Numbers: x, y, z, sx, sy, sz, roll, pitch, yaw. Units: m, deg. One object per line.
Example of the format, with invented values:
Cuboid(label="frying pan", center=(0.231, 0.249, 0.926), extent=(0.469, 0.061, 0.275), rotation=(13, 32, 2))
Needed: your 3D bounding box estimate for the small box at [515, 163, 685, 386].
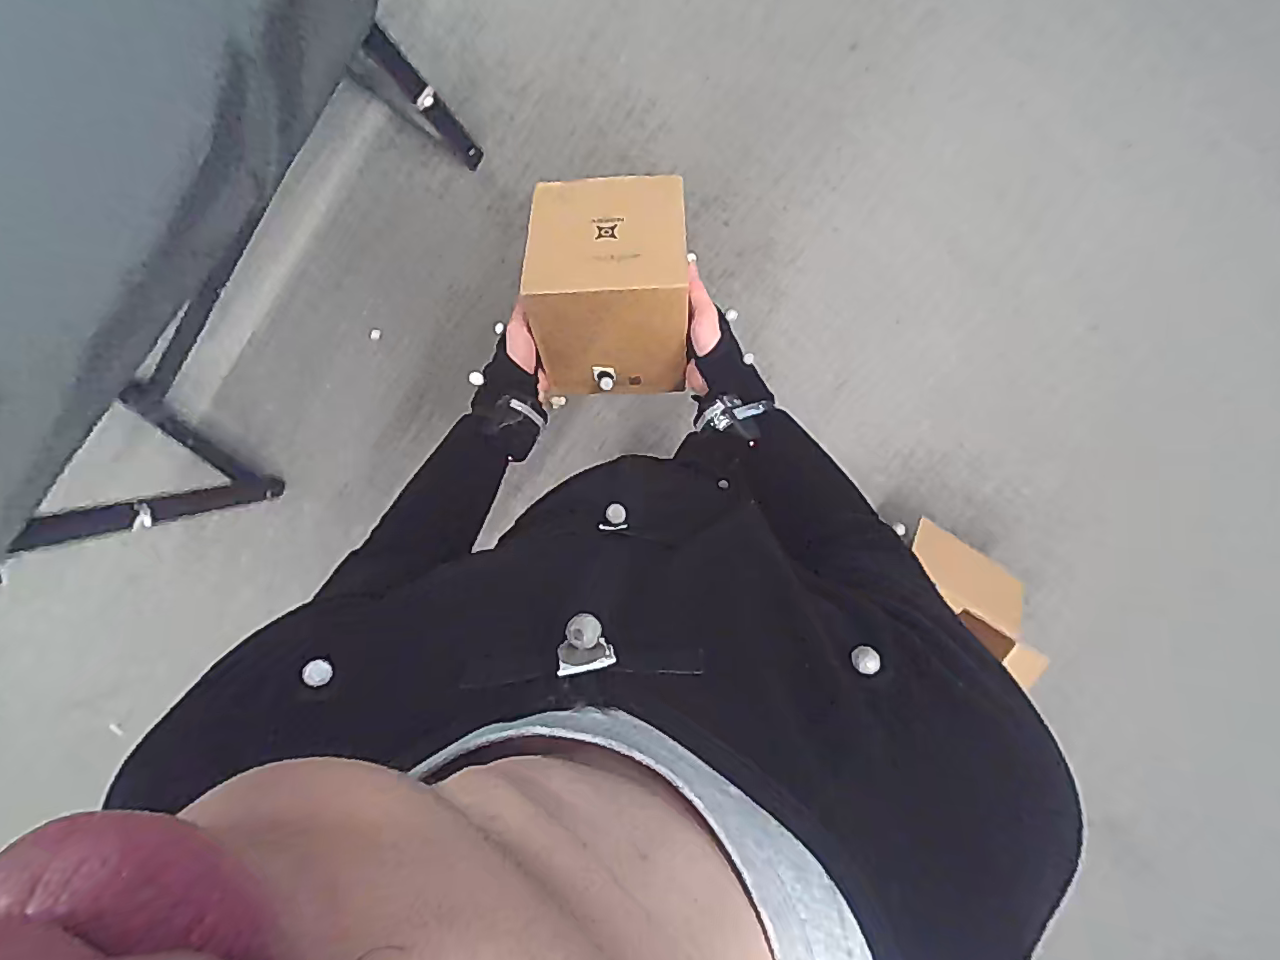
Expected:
Cuboid(label="small box", center=(-0.036, -0.230, 0.624), extent=(0.168, 0.176, 0.179), rotation=(-2, 63, 2))
